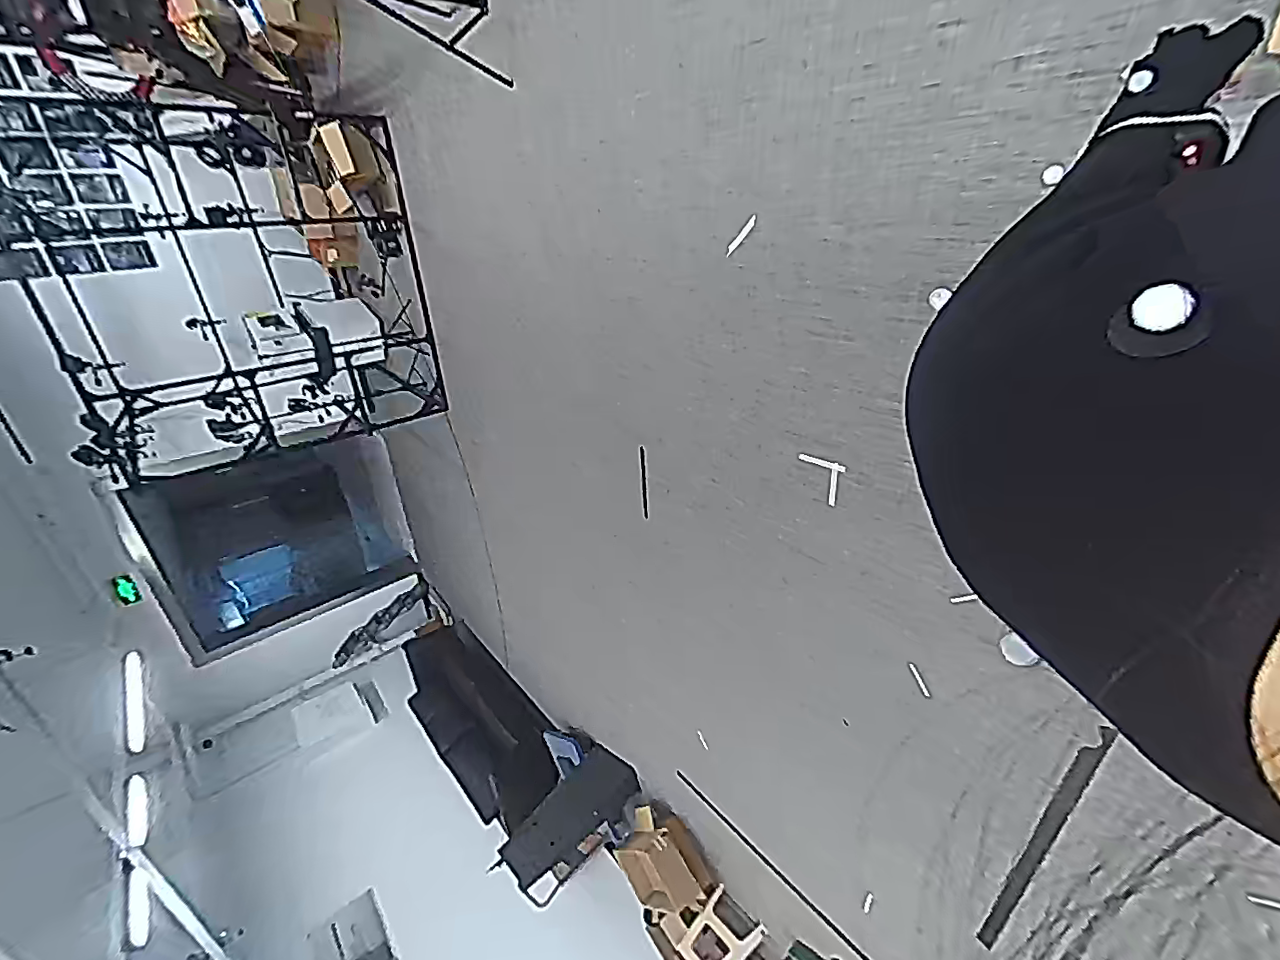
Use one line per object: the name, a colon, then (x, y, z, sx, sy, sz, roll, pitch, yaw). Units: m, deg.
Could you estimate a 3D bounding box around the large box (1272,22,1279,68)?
large box: (1.059, -0.689, 0.597, 0.408, 0.320, 0.320, 24, 128, 44)
